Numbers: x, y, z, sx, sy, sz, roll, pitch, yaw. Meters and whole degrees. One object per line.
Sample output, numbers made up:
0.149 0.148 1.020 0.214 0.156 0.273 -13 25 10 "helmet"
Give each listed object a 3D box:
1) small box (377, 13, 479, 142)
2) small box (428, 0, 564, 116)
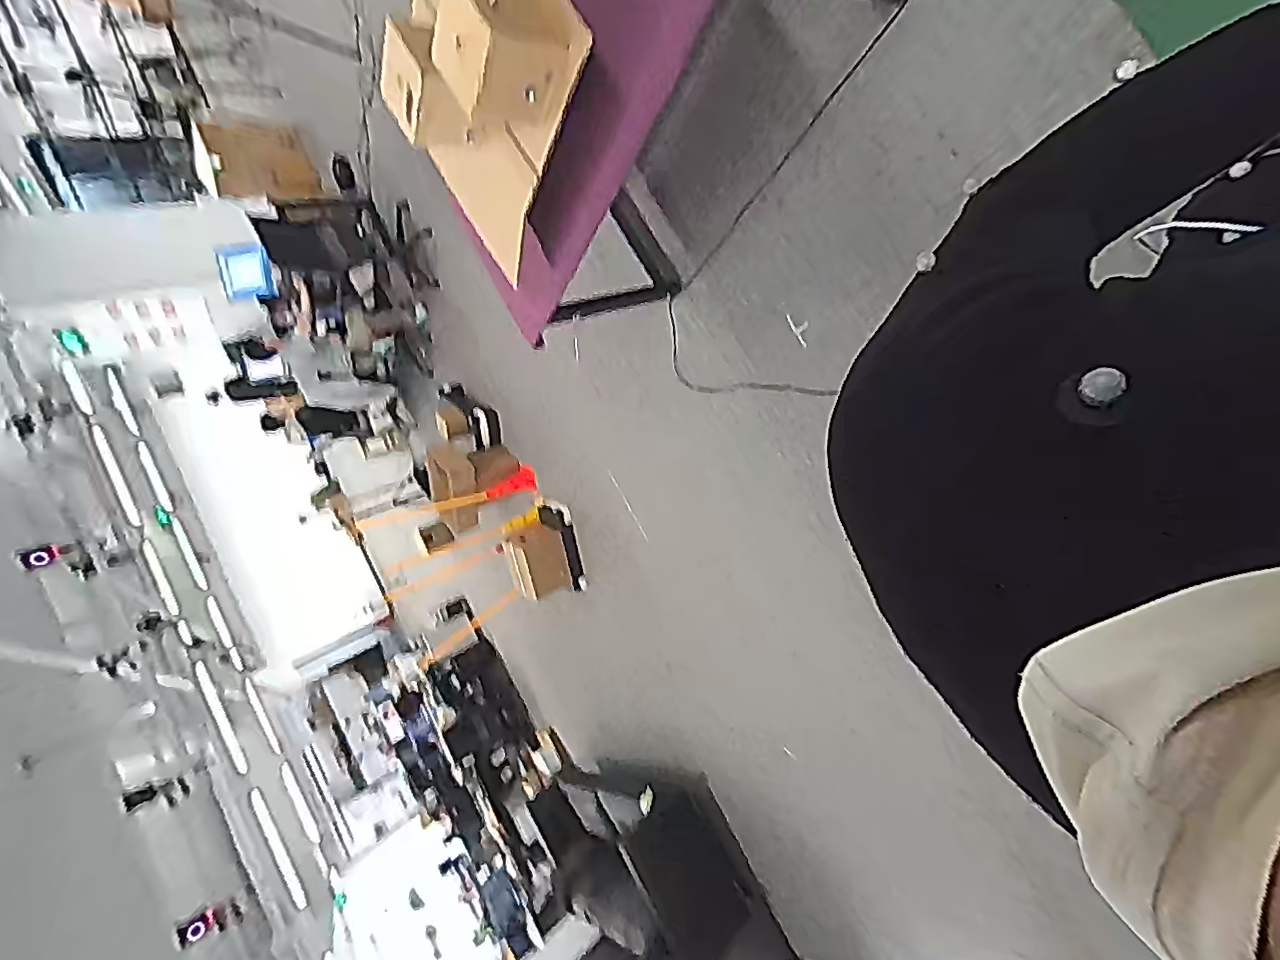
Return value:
-0.472 -0.906 1.231 0.179 0.176 0.168 59 142 8 "small box"
-0.278 -0.836 1.042 0.179 0.176 0.168 58 142 7 "small box"
